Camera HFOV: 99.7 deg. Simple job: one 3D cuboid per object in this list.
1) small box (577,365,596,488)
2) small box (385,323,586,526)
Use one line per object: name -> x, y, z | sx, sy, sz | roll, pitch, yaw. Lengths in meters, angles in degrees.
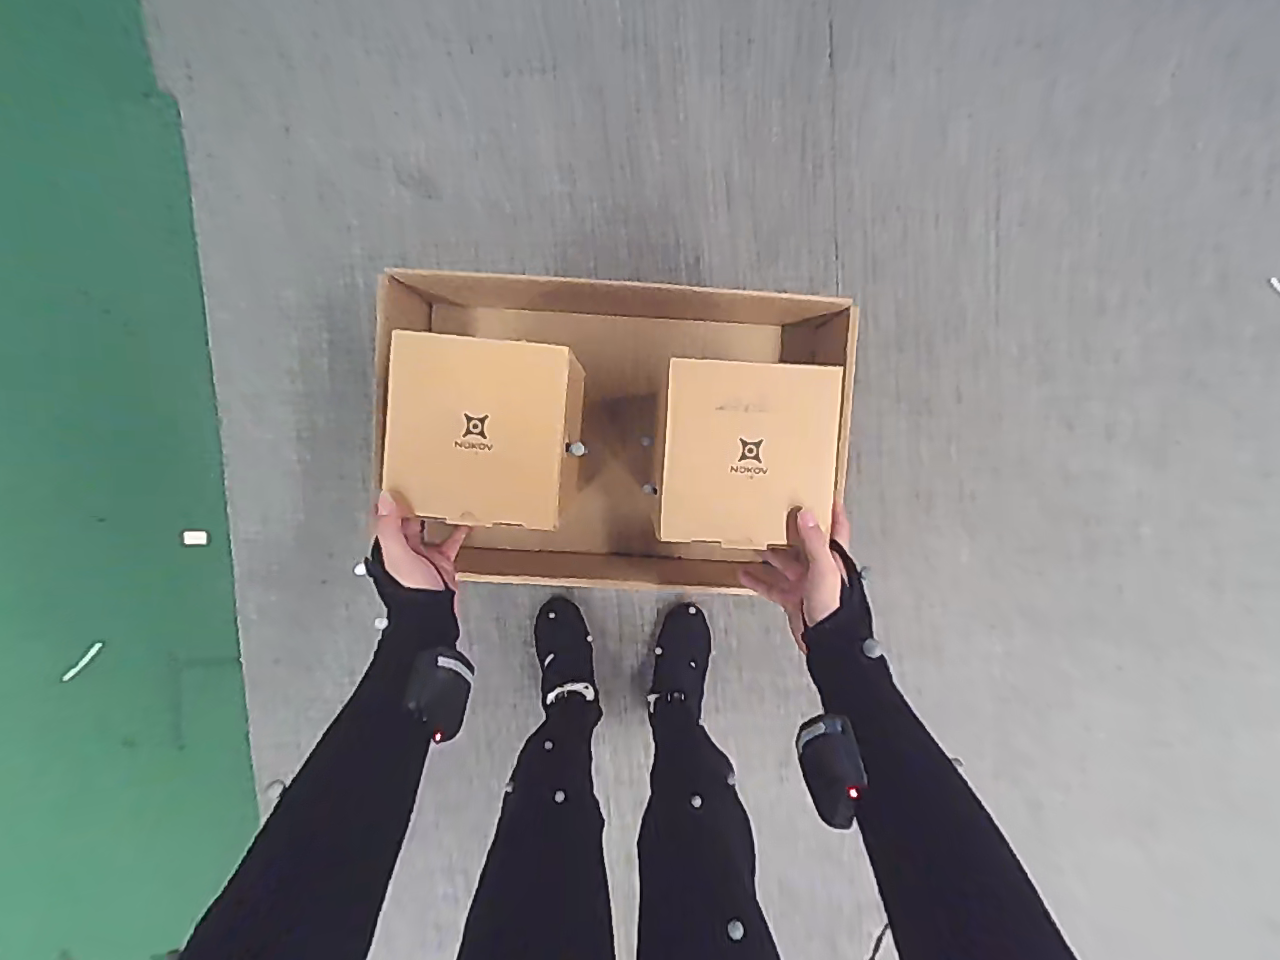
small box -> -0.158, -0.072, 0.741 | 0.179, 0.176, 0.168 | 5, 94, -1
small box -> -0.150, -0.055, 0.578 | 0.168, 0.176, 0.179 | 5, 94, -1
